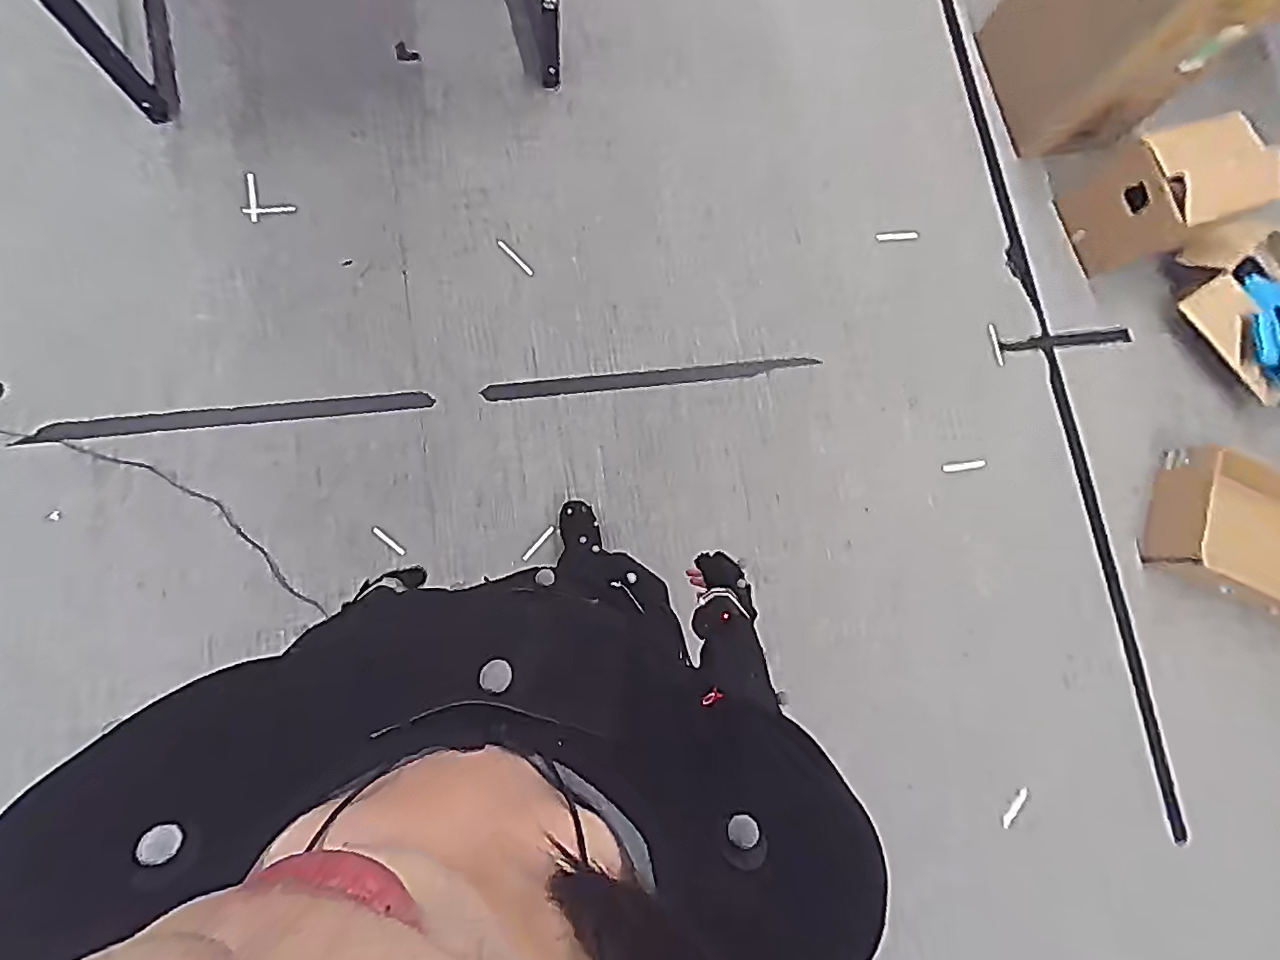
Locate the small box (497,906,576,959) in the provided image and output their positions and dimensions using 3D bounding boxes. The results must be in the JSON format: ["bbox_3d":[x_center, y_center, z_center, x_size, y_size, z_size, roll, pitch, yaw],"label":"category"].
[{"bbox_3d":[-0.237,1.163,1.273,0.168,0.176,0.179,-8,81,-10],"label":"small box"}]
